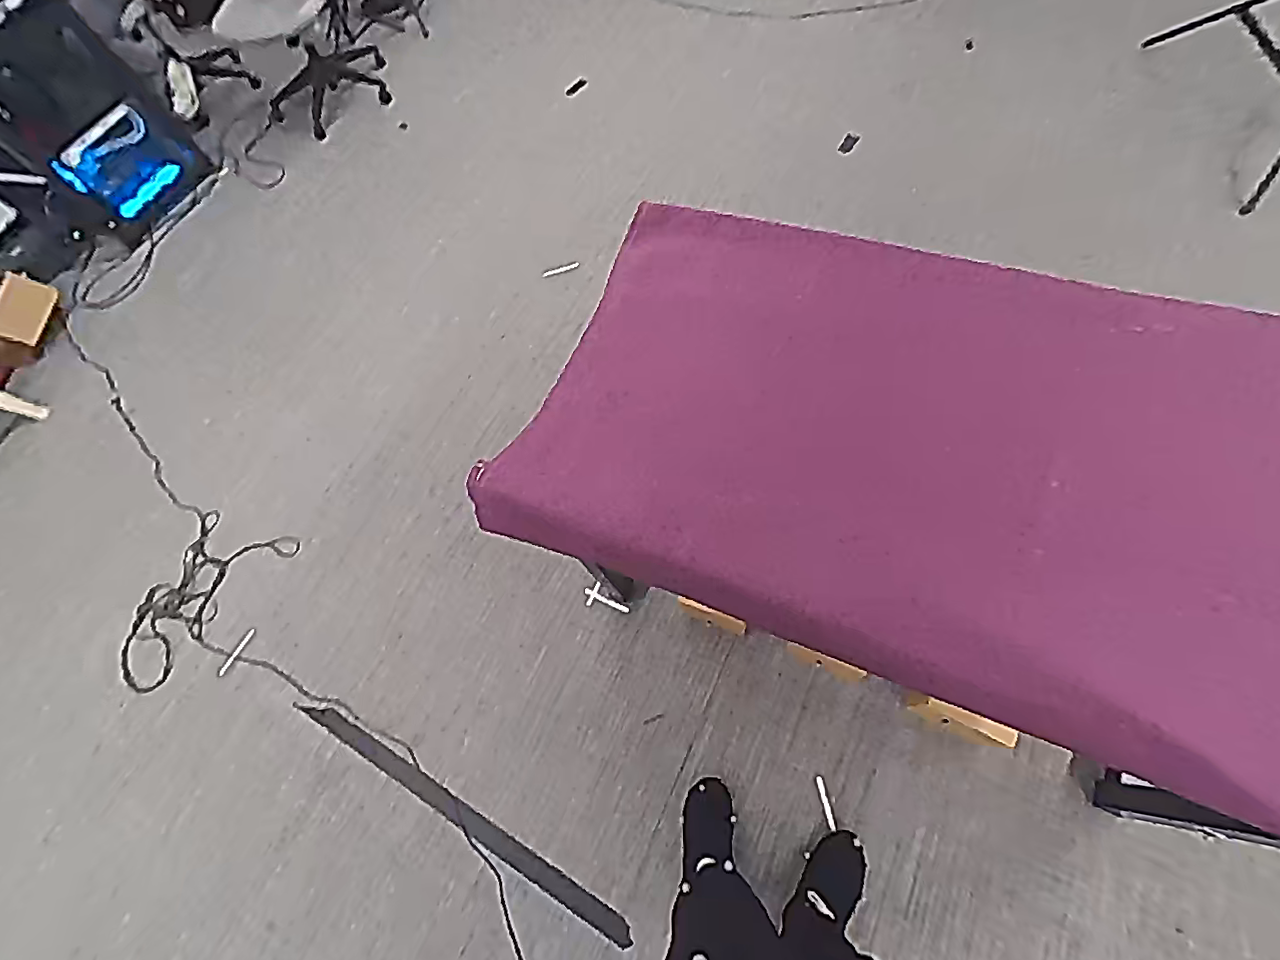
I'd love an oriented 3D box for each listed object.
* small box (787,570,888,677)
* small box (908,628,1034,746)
[{"bbox_3d":[0.454,0.342,1.266,0.168,0.176,0.179,22,70,18],"label":"small box"},{"bbox_3d":[0.706,0.452,1.175,0.168,0.176,0.179,25,71,20],"label":"small box"}]
